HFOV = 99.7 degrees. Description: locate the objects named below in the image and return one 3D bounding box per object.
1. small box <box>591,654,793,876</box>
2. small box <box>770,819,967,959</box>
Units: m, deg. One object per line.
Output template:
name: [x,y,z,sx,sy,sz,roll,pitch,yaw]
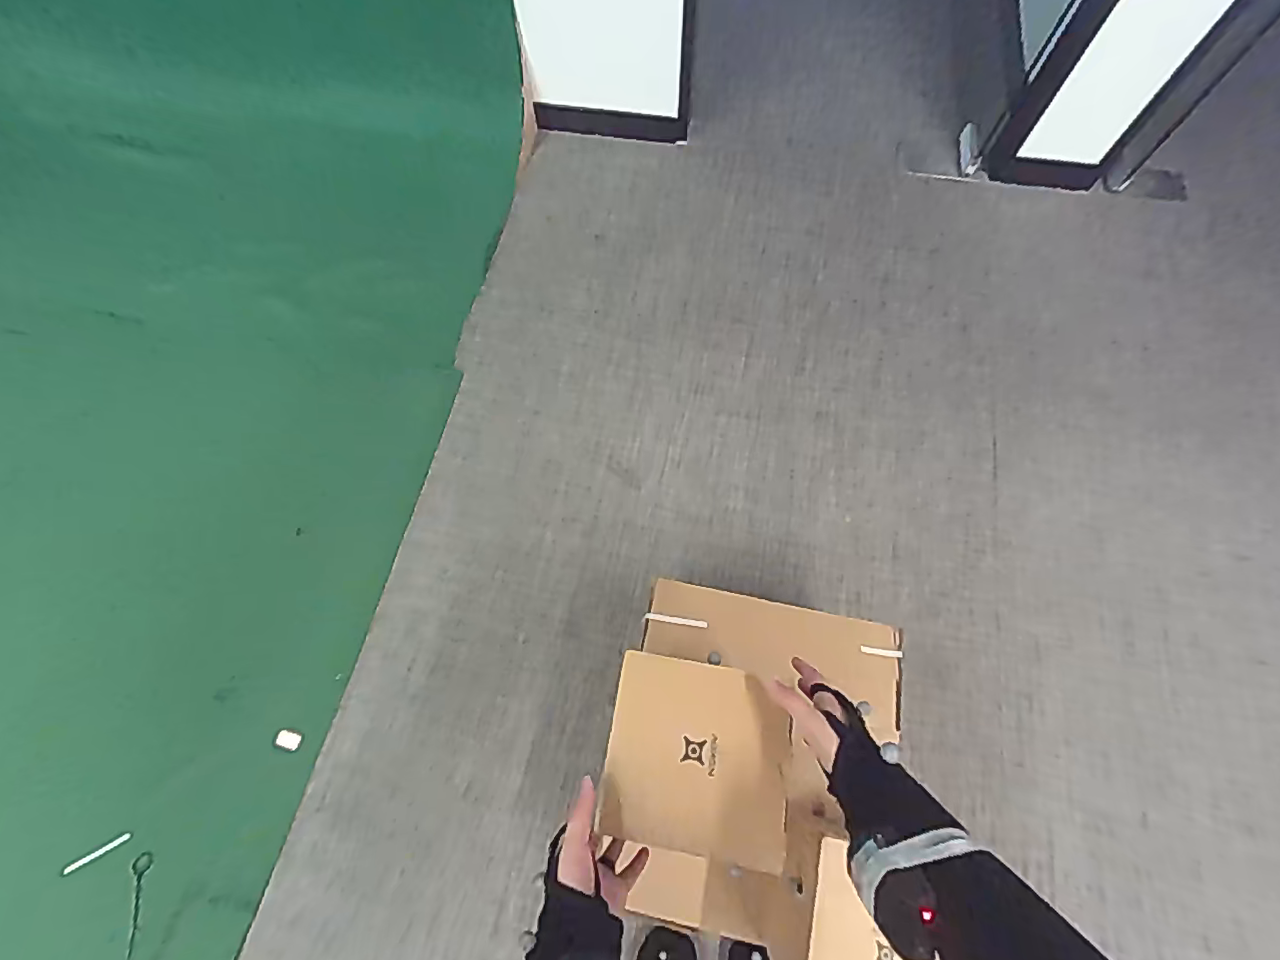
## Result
small box: [0.056,0.299,0.588,0.179,0.176,0.168,9,66,5]
small box: [0.265,0.537,0.654,0.168,0.176,0.179,14,67,7]
